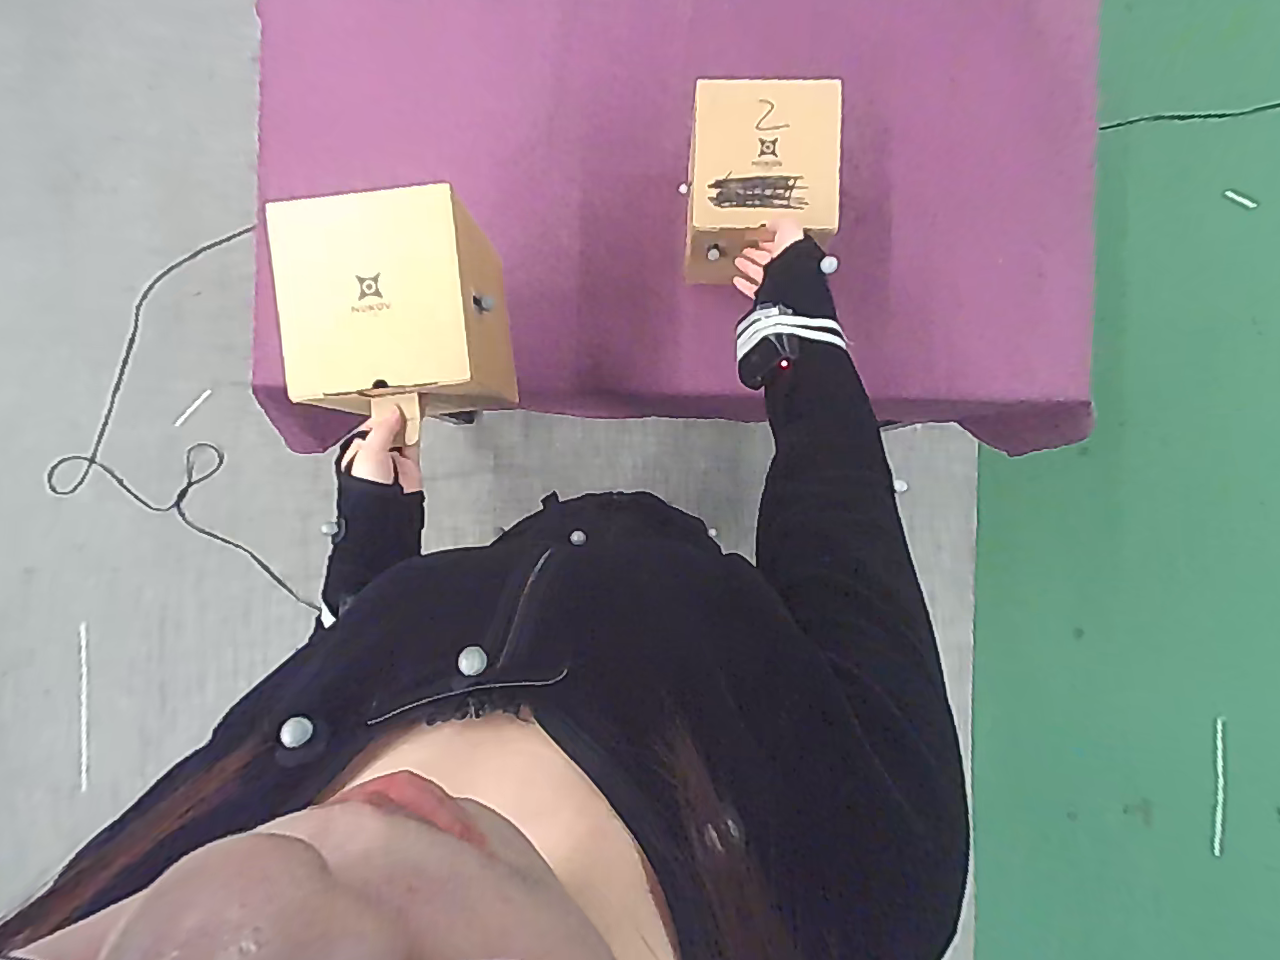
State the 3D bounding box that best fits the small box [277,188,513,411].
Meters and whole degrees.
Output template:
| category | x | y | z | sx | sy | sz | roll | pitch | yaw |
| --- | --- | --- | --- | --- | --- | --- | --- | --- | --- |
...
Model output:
| category | x | y | z | sx | sy | sz | roll | pitch | yaw |
| --- | --- | --- | --- | --- | --- | --- | --- | --- | --- |
| small box | -0.240 | -0.173 | 0.570 | 0.168 | 0.176 | 0.179 | -6 | 92 | 1 |
